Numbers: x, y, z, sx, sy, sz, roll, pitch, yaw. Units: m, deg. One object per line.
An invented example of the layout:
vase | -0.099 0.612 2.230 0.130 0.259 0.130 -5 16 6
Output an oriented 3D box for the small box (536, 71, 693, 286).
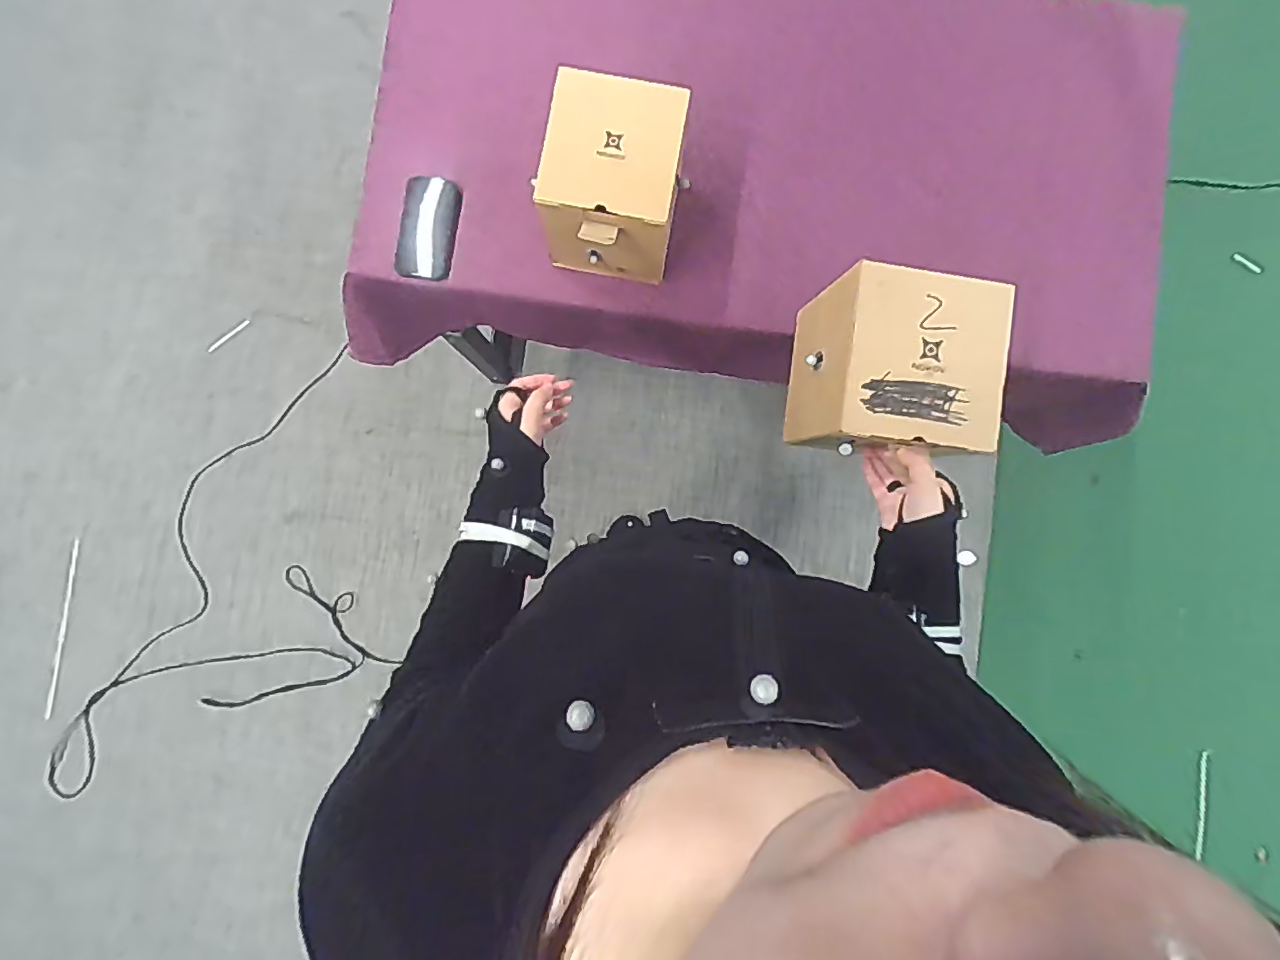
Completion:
small box | -0.033 -0.394 0.733 0.168 0.176 0.179 11 86 -1
